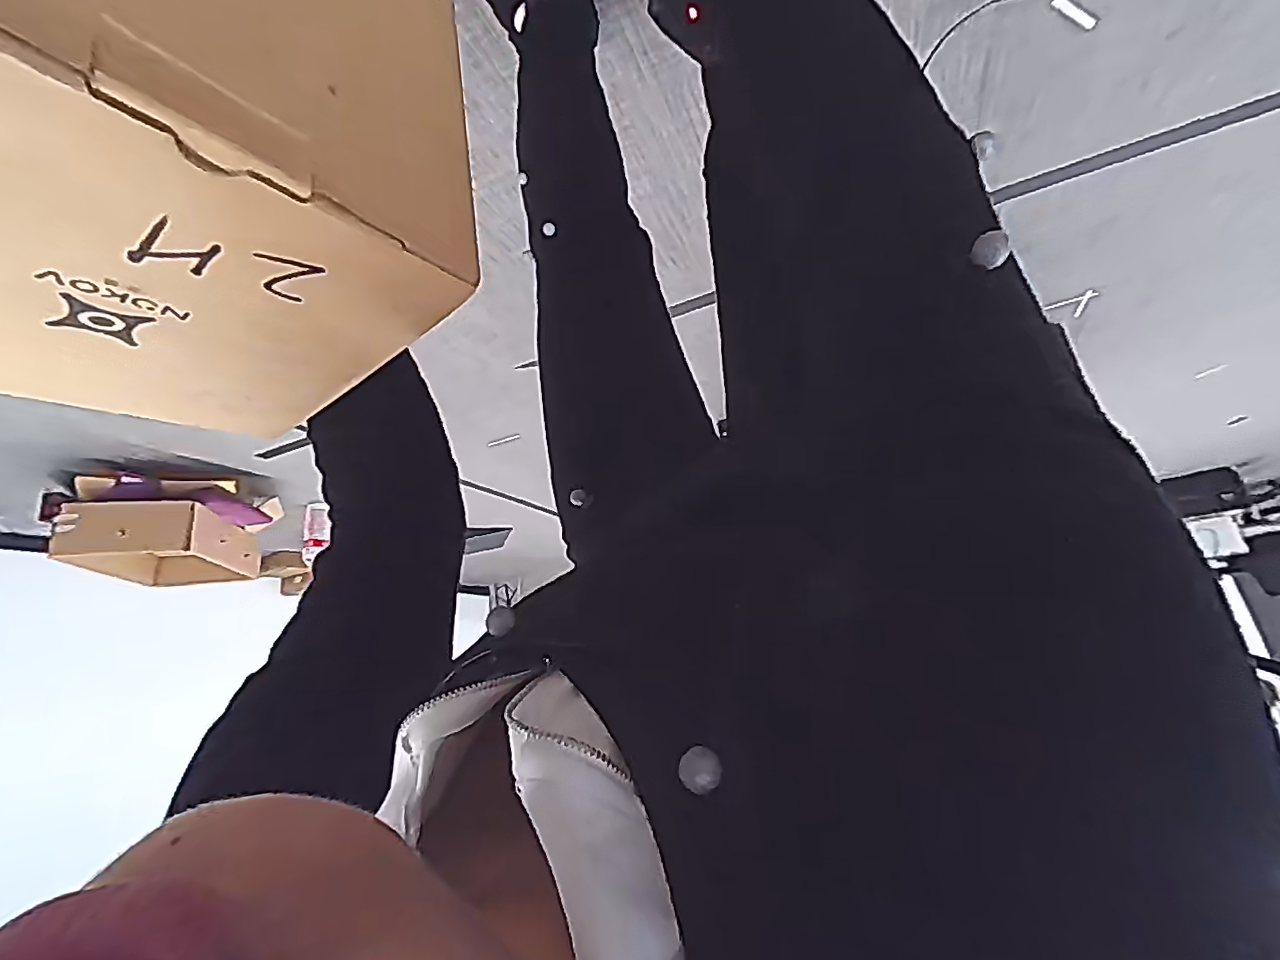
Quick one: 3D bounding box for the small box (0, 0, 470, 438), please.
[{"bbox_3d":[-0.188,-0.136,0.206,0.179,0.176,0.168,-20,161,31],"label":"small box"}]
